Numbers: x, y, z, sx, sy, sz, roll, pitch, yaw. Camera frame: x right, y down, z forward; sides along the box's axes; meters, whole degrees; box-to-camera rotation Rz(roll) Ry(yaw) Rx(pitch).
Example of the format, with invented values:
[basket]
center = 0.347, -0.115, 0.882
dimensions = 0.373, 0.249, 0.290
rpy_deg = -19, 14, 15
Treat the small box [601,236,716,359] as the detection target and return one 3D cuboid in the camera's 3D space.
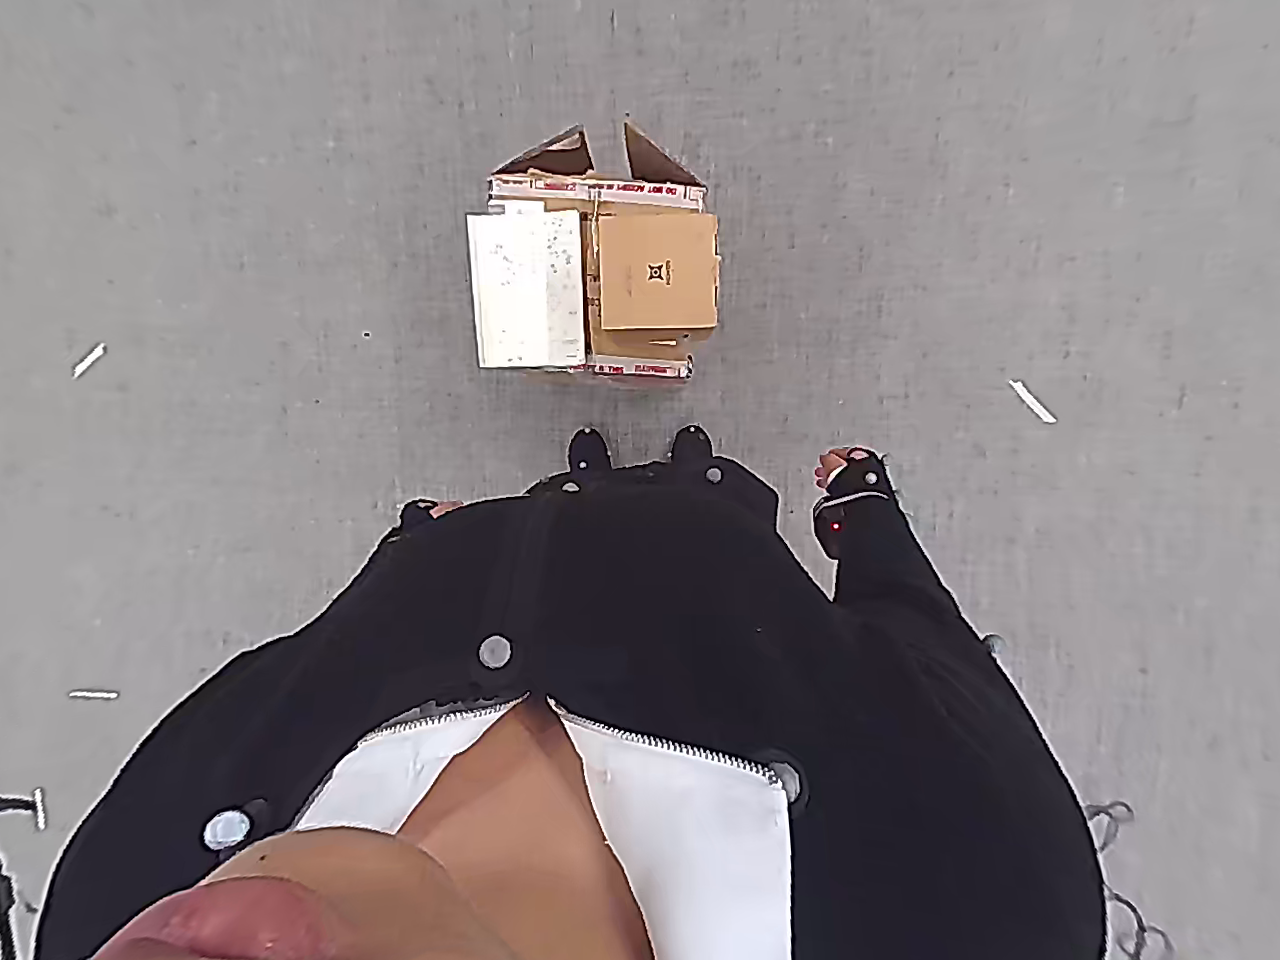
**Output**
[small box]
center = 0.030, -0.295, 0.904
dimensions = 0.179, 0.176, 0.168
rpy_deg = -1, 97, 2
